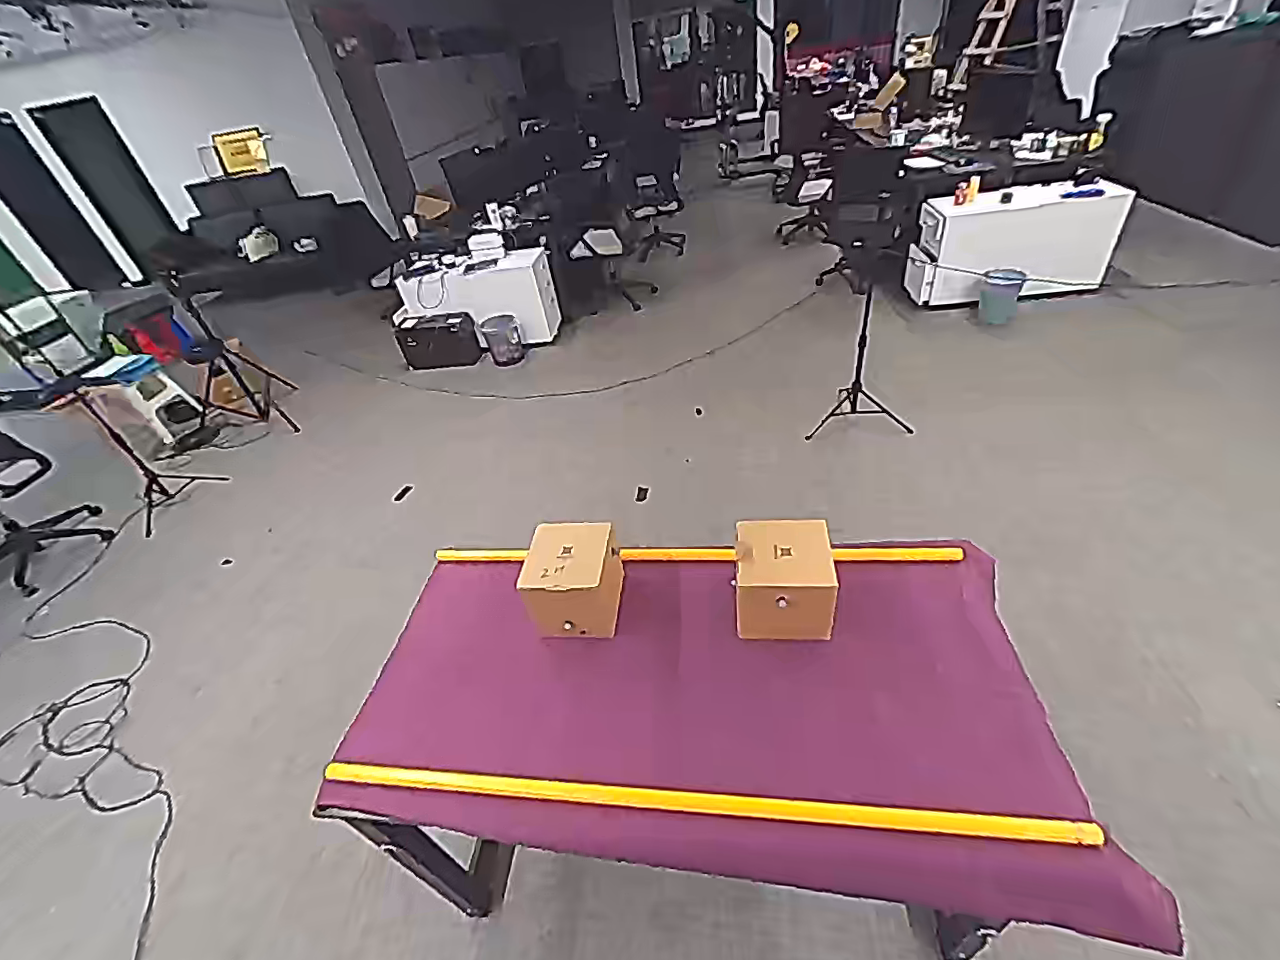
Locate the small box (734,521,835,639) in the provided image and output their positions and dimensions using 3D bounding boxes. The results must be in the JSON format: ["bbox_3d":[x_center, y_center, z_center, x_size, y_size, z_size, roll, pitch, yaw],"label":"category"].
[{"bbox_3d":[0.277,0.198,1.067,0.179,0.176,0.168,-3,41,11],"label":"small box"}]

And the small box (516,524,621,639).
[{"bbox_3d":[-0.140,0.212,1.141,0.168,0.176,0.179,-2,41,10],"label":"small box"}]
